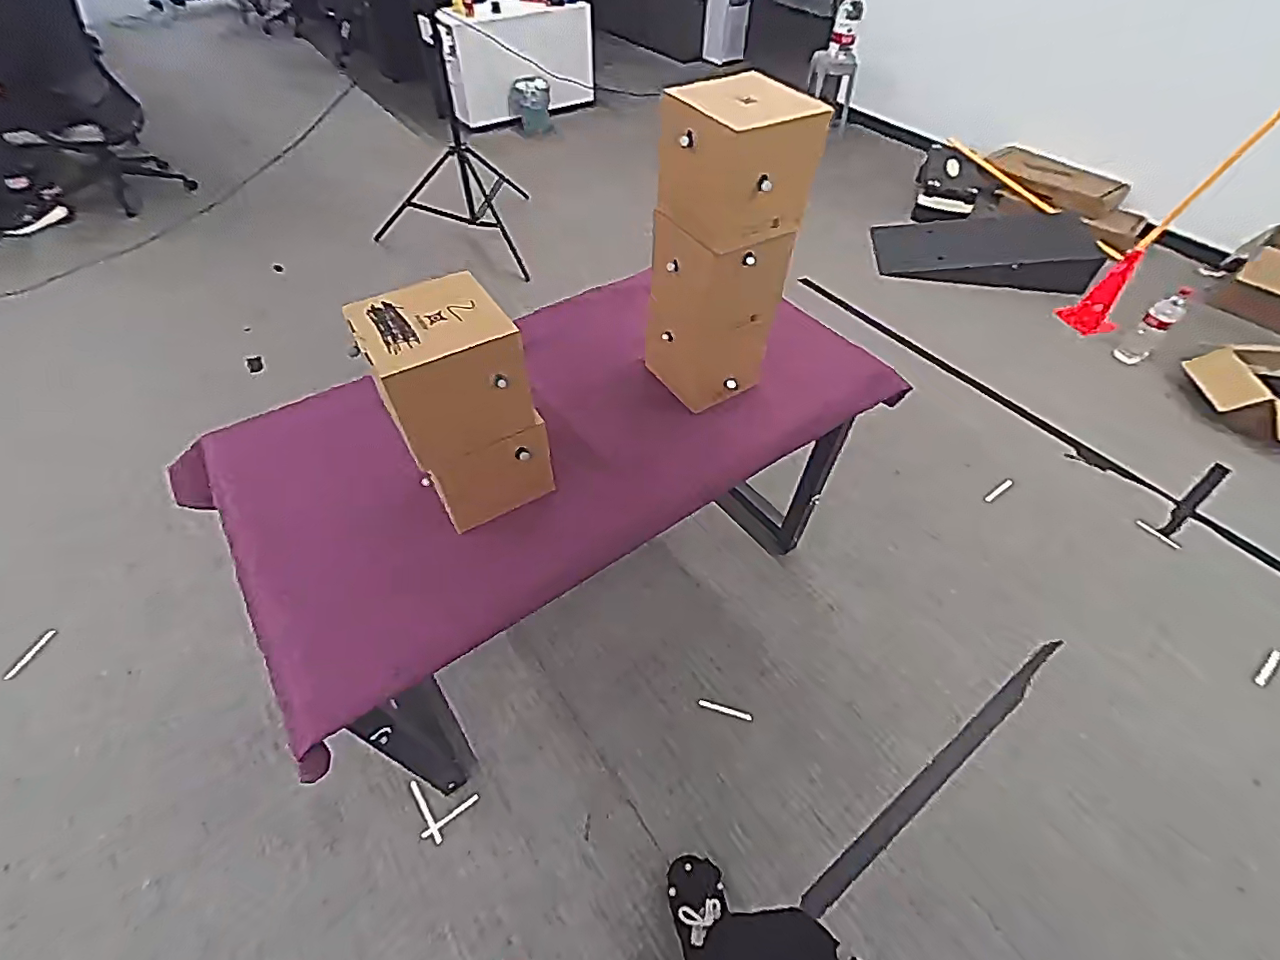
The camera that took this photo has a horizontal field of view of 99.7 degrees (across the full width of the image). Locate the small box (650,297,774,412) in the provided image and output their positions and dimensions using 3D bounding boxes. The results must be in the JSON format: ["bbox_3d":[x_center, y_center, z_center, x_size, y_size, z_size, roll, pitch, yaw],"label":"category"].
[{"bbox_3d":[0.130,-0.265,1.062,0.168,0.176,0.179,-27,57,-20],"label":"small box"}]

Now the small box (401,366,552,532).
[{"bbox_3d":[-0.254,-0.049,0.879,0.179,0.176,0.168,-26,56,-20],"label":"small box"}]

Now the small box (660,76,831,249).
[{"bbox_3d":[0.143,-0.462,0.800,0.168,0.176,0.179,-25,56,-19],"label":"small box"}]

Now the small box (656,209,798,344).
[{"bbox_3d":[0.136,-0.364,0.931,0.168,0.176,0.179,-25,55,-19],"label":"small box"}]
